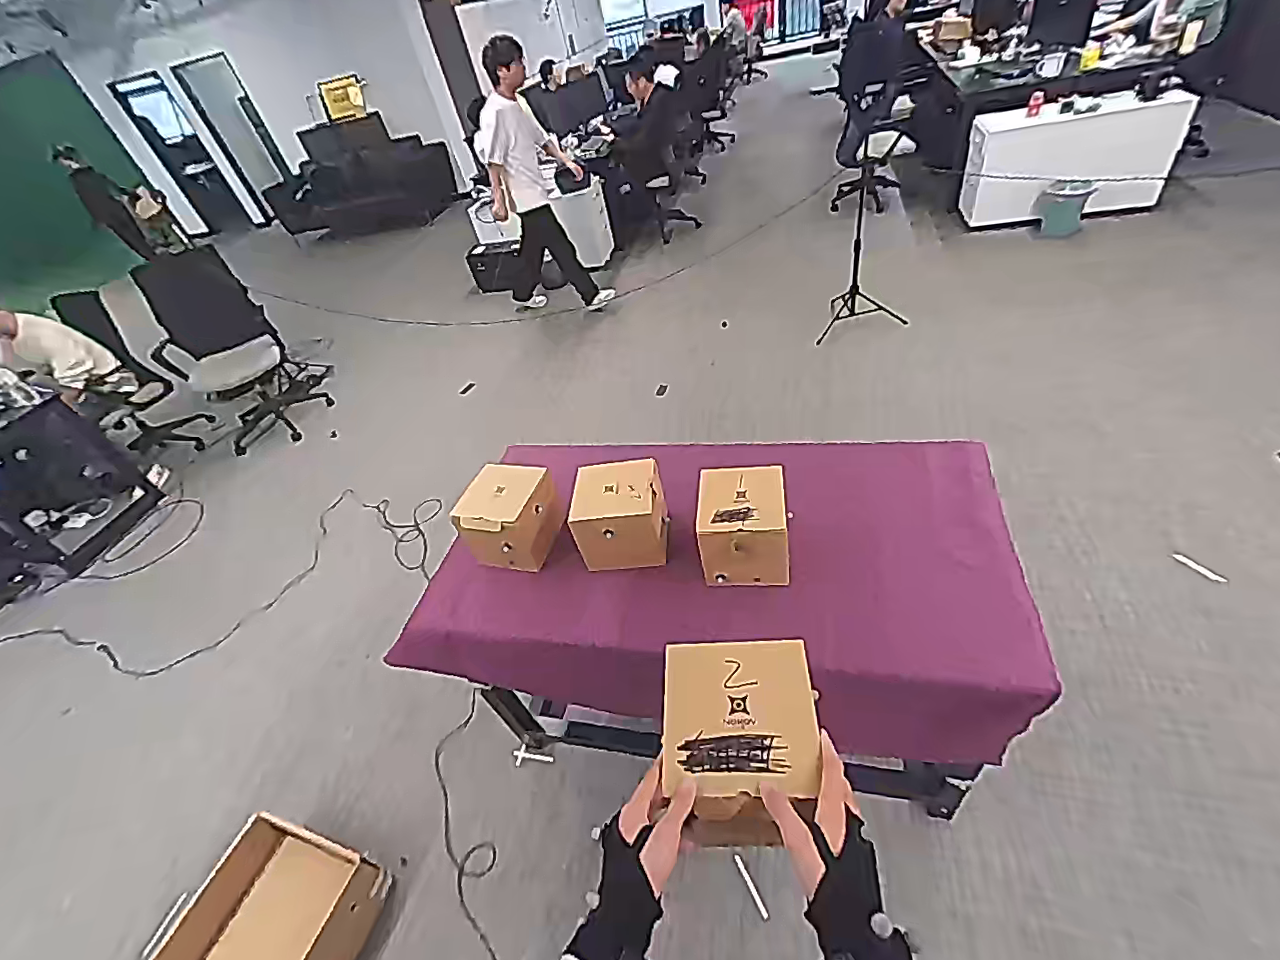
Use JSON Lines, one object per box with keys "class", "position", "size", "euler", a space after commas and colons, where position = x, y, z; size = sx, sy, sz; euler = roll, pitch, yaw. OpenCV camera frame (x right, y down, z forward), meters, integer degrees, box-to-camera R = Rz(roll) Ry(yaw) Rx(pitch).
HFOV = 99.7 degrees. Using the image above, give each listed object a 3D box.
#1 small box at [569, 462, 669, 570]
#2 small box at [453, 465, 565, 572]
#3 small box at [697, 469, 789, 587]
{"class": "small box", "position": [-0.038, 0.083, 1.181], "size": [0.179, 0.176, 0.168], "euler": [-5, 43, 10]}
{"class": "small box", "position": [-0.290, 0.089, 1.248], "size": [0.168, 0.176, 0.179], "euler": [5, 44, 20]}
{"class": "small box", "position": [0.212, 0.100, 1.093], "size": [0.168, 0.176, 0.179], "euler": [-2, 42, 13]}
